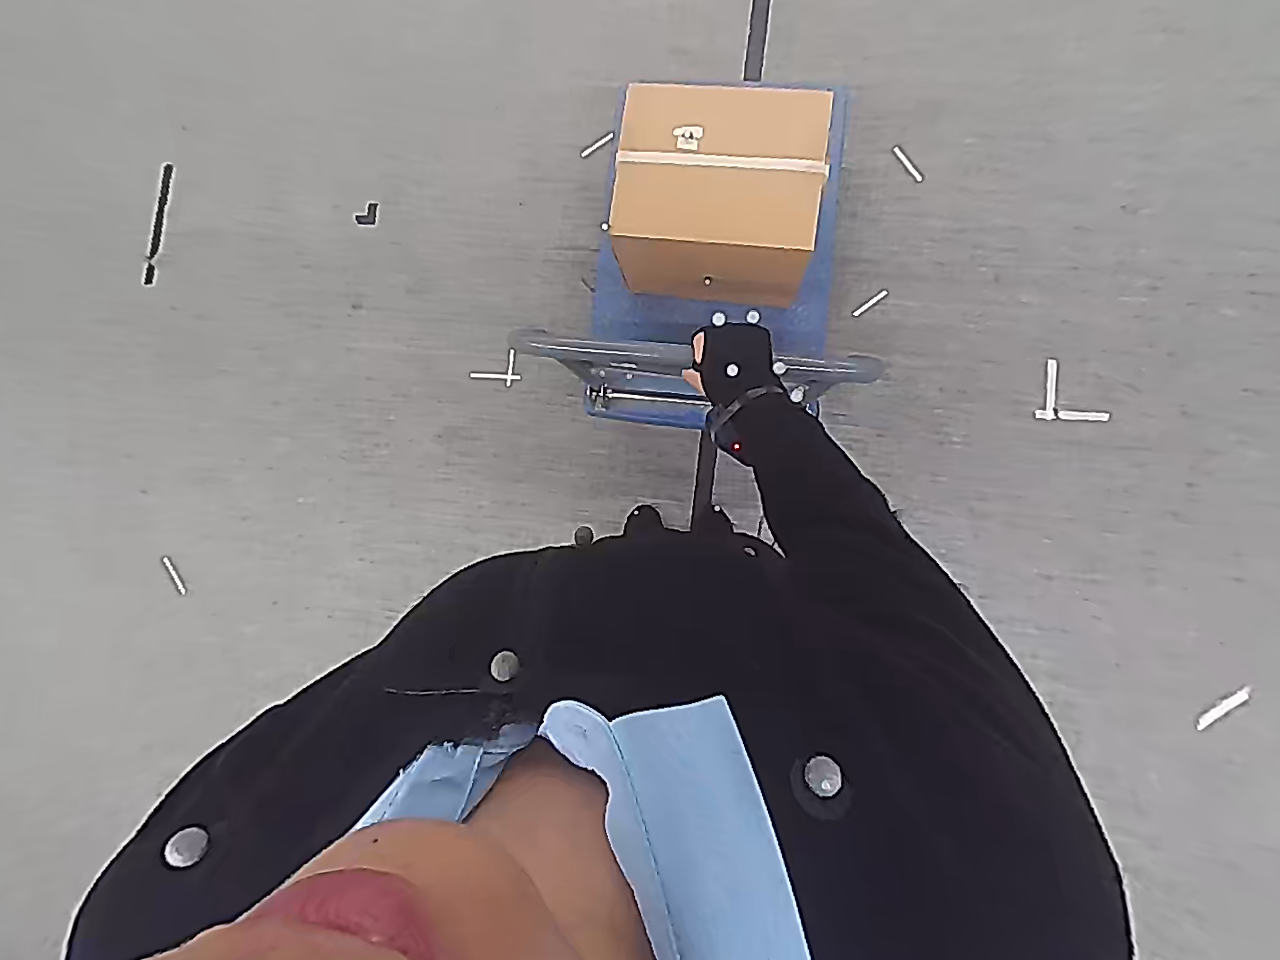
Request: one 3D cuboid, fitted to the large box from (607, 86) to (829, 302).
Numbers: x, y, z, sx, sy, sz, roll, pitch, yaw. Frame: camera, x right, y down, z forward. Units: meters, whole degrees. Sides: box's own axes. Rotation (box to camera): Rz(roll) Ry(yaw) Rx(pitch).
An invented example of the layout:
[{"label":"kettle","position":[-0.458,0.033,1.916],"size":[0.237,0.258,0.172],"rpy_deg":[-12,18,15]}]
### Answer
[{"label":"large box","position":[0.169,-0.604,1.189],"size":[0.408,0.320,0.320],"rpy_deg":[7,88,8]}]
